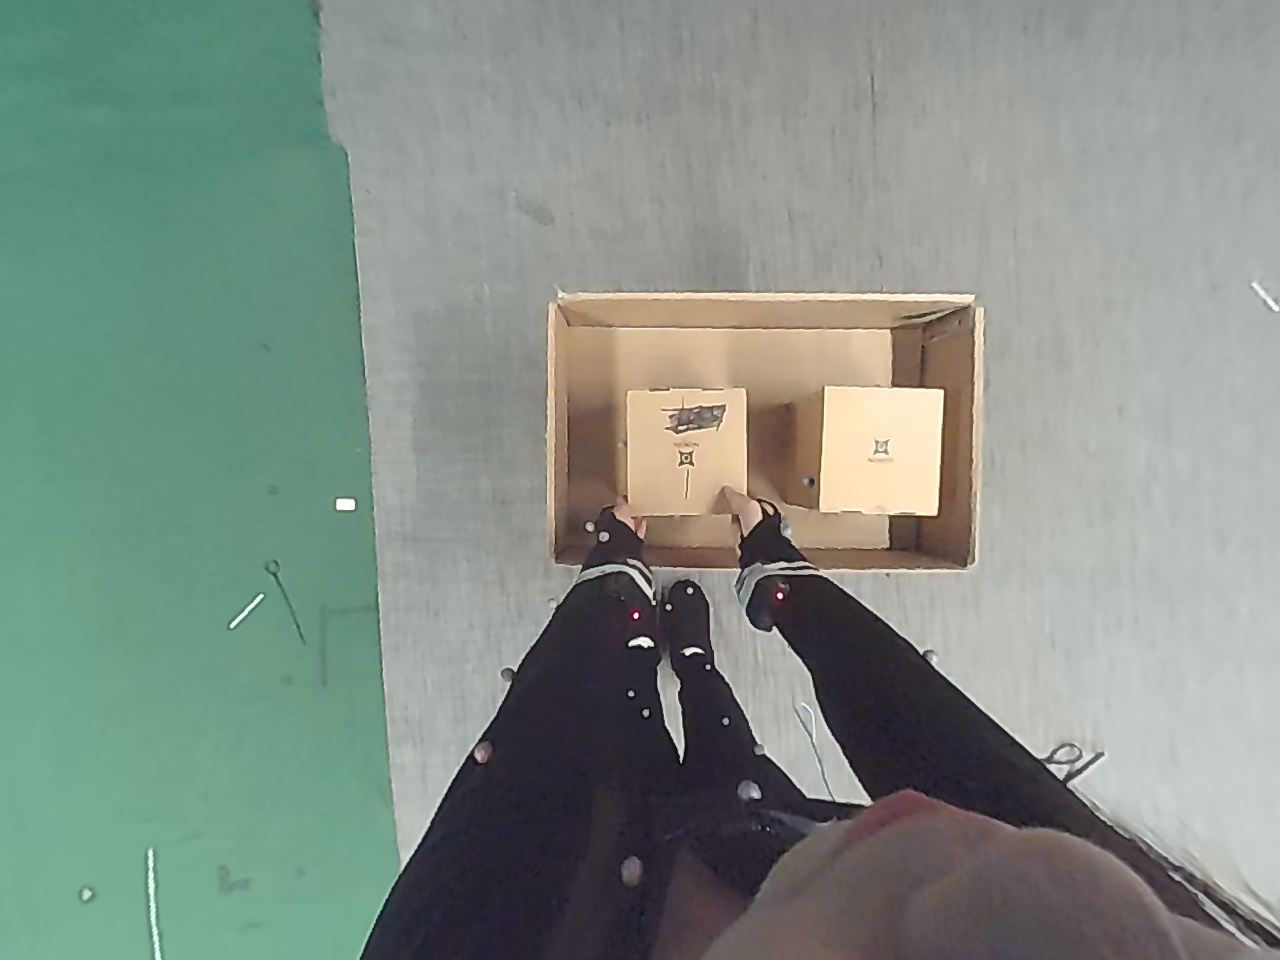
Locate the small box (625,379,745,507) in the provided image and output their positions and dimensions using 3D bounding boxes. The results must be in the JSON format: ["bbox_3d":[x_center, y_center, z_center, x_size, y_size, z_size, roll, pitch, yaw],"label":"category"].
[{"bbox_3d":[0.061,-0.052,0.817,0.168,0.176,0.179,-1,93,0],"label":"small box"}]
